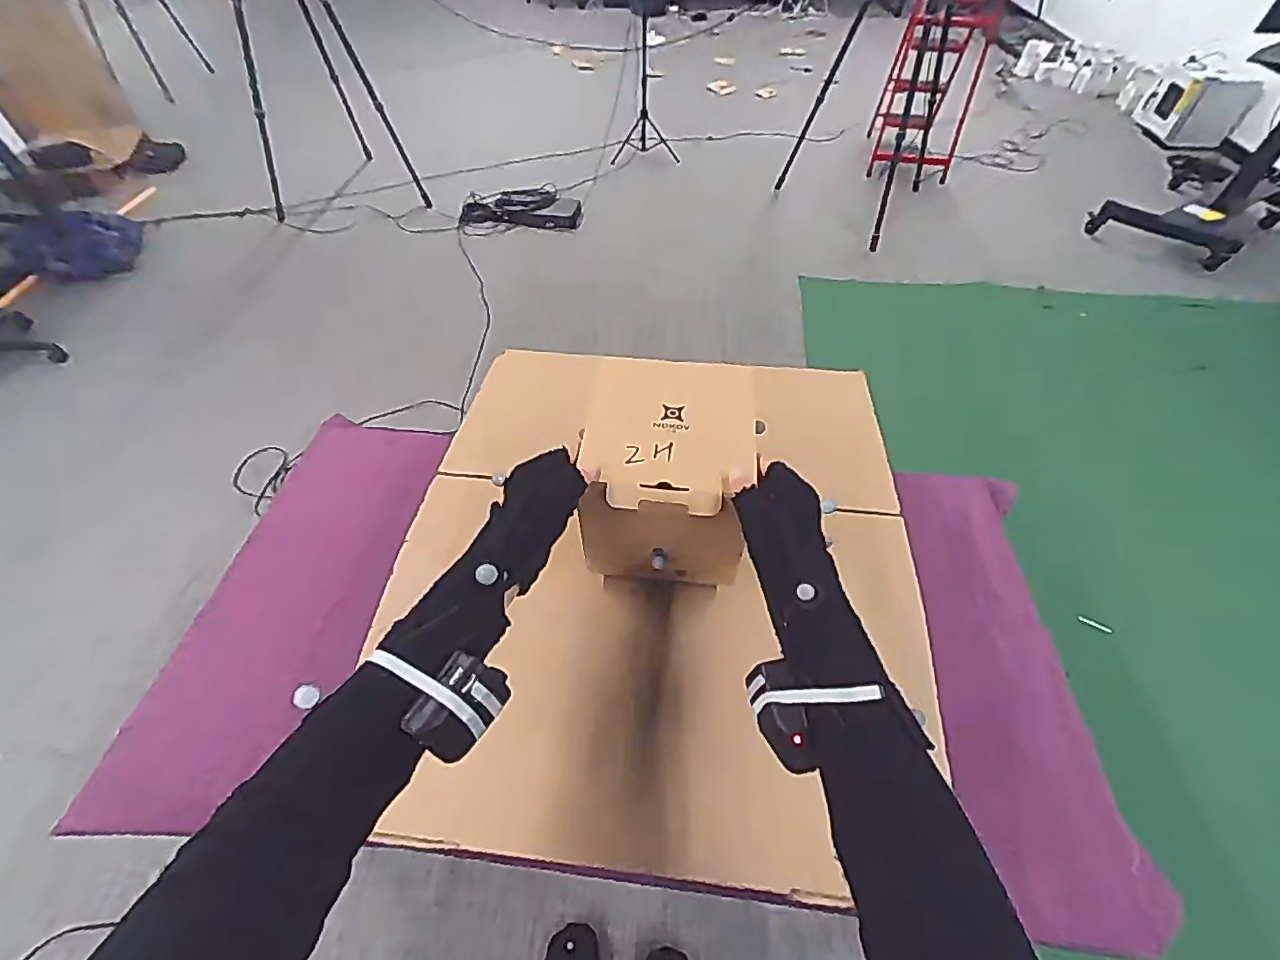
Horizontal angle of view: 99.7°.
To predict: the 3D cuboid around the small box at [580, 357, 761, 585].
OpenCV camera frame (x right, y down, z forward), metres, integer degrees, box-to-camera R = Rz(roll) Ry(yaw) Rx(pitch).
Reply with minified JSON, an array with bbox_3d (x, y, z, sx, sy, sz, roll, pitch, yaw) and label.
[{"bbox_3d":[0.034,-0.008,0.592,0.168,0.176,0.179,6,52,4],"label":"small box"}]
